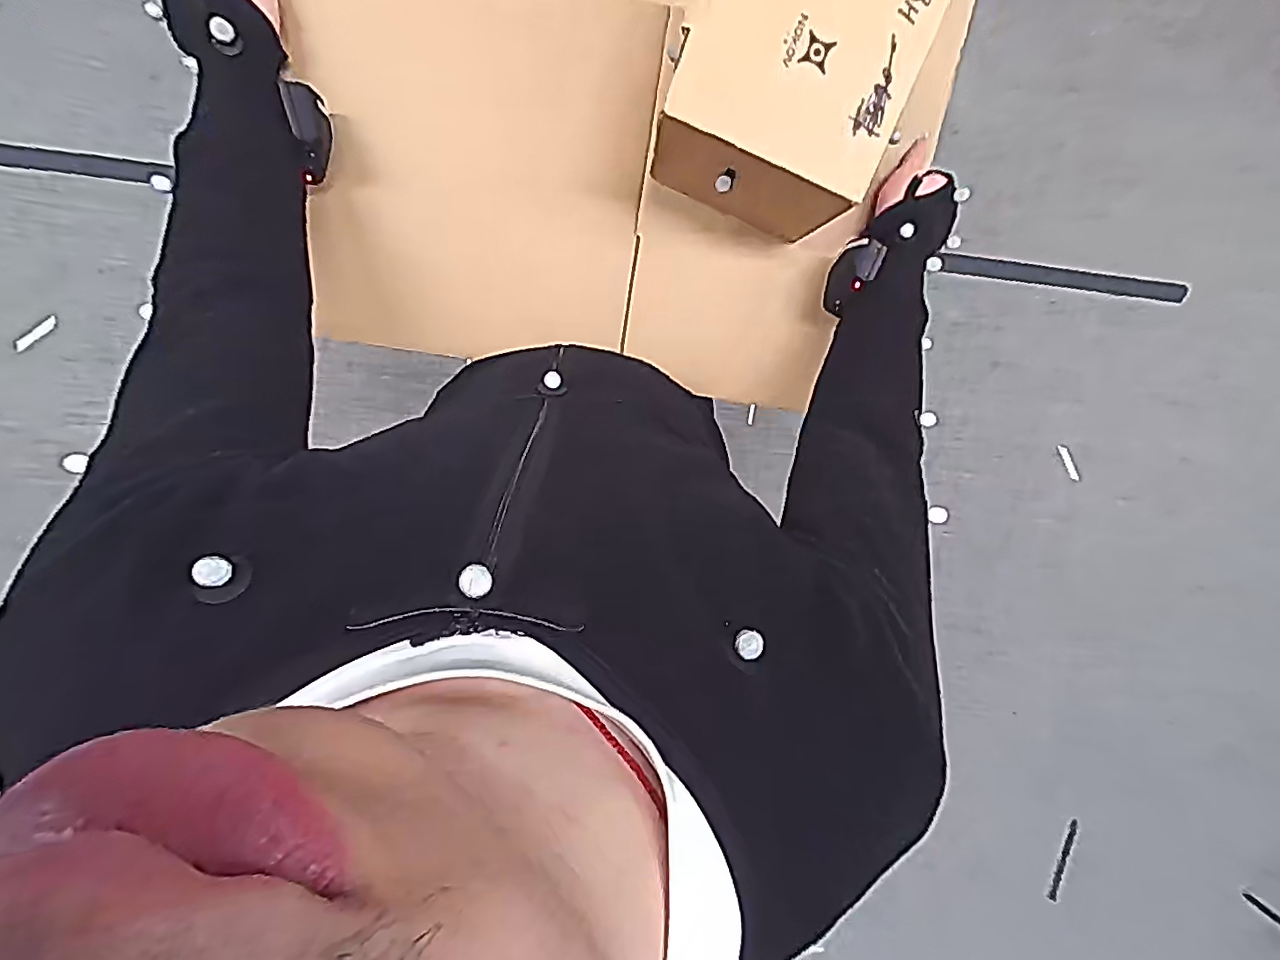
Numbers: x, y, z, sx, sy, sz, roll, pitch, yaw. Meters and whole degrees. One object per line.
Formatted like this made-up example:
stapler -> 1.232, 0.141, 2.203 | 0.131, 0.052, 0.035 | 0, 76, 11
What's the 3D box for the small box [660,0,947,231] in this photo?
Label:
small box -> 0.125, -0.349, 0.488 | 0.179, 0.176, 0.168 | 21, 103, -6
